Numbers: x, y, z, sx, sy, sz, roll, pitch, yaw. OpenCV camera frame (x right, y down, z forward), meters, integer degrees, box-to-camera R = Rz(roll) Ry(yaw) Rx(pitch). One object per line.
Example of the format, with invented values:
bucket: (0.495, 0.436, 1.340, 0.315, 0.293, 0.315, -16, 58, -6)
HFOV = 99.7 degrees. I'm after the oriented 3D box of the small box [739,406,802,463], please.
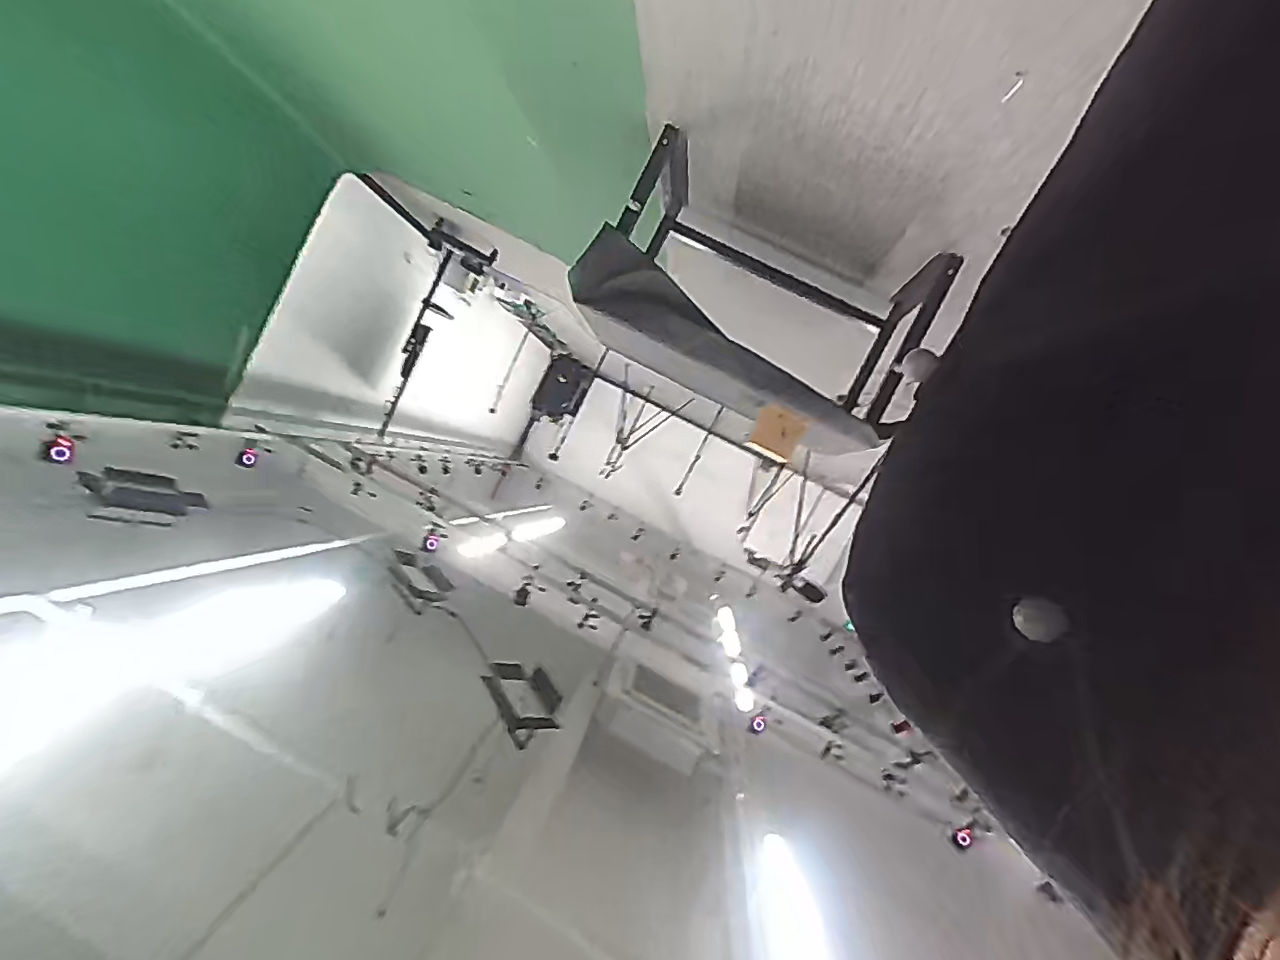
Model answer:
small box: (0.504, -0.176, 2.084, 0.168, 0.176, 0.179, 27, -177, 2)
